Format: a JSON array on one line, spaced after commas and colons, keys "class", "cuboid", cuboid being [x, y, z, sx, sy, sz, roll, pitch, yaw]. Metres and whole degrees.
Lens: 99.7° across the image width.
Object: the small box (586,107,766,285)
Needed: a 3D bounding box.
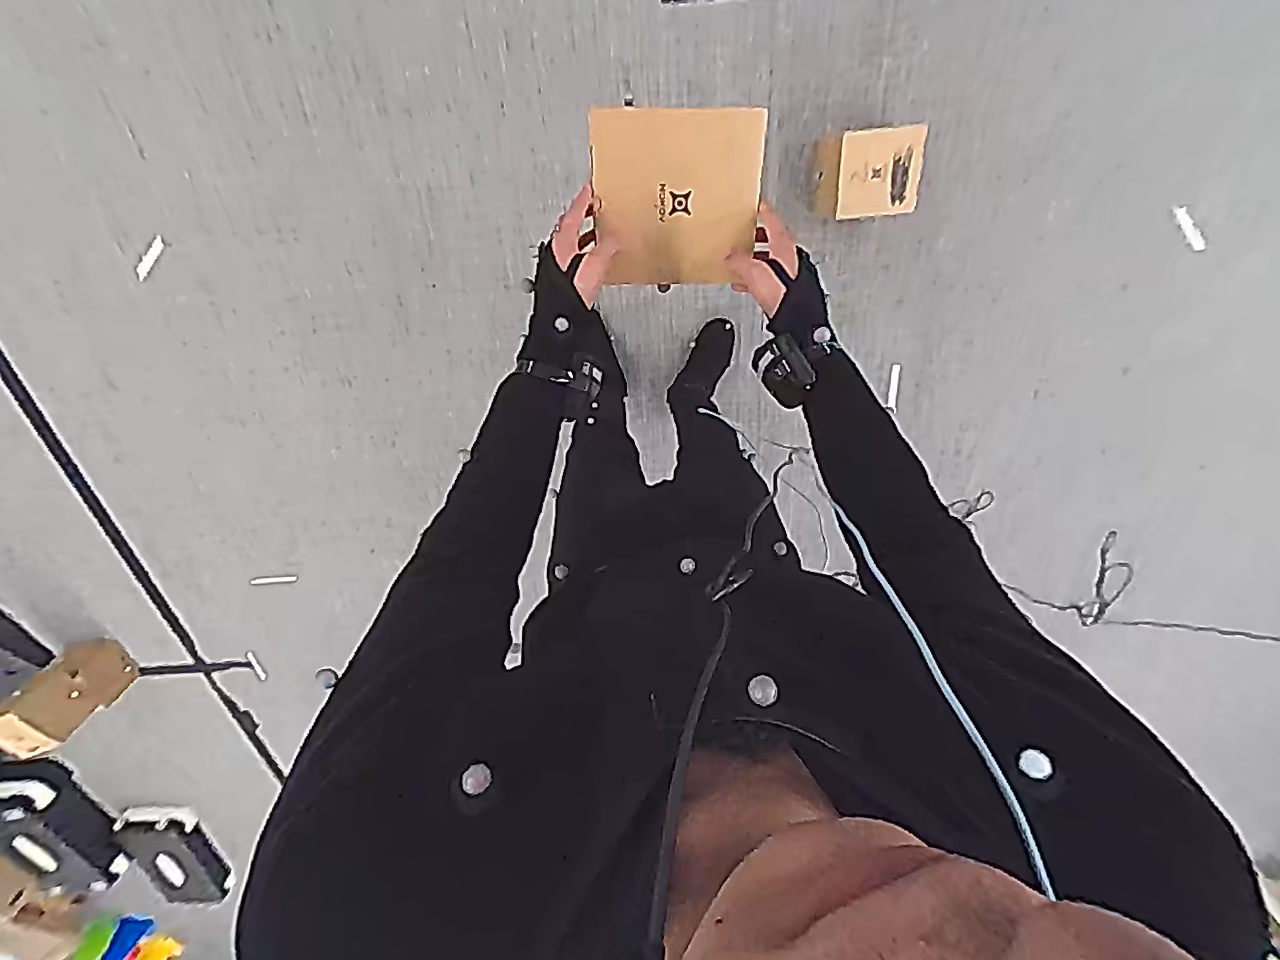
[{"class": "small box", "cuboid": [0.033, -0.330, 0.624, 0.179, 0.176, 0.168, -1, 123, 0]}]
